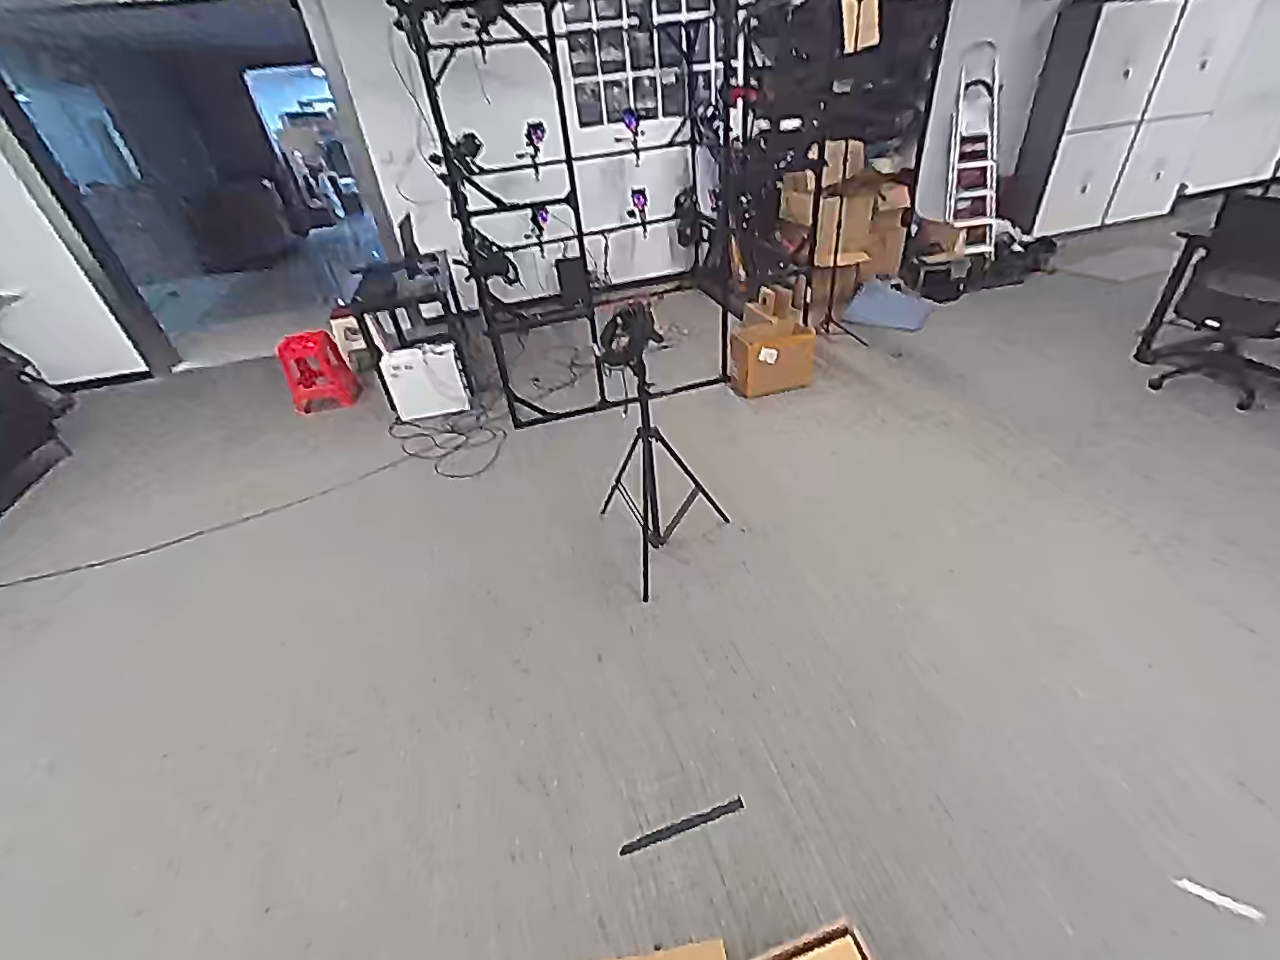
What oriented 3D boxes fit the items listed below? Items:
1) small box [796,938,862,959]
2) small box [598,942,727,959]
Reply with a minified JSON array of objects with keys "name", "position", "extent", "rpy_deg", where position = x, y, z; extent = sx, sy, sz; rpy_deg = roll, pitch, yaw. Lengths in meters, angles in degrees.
[{"name":"small box","position":[0.385,1.065,1.073],"extent":[0.168,0.176,0.179],"rpy_deg":[-14,39,-10]},{"name":"small box","position":[0.026,0.645,0.613],"extent":[0.179,0.176,0.168],"rpy_deg":[-10,46,0]}]
